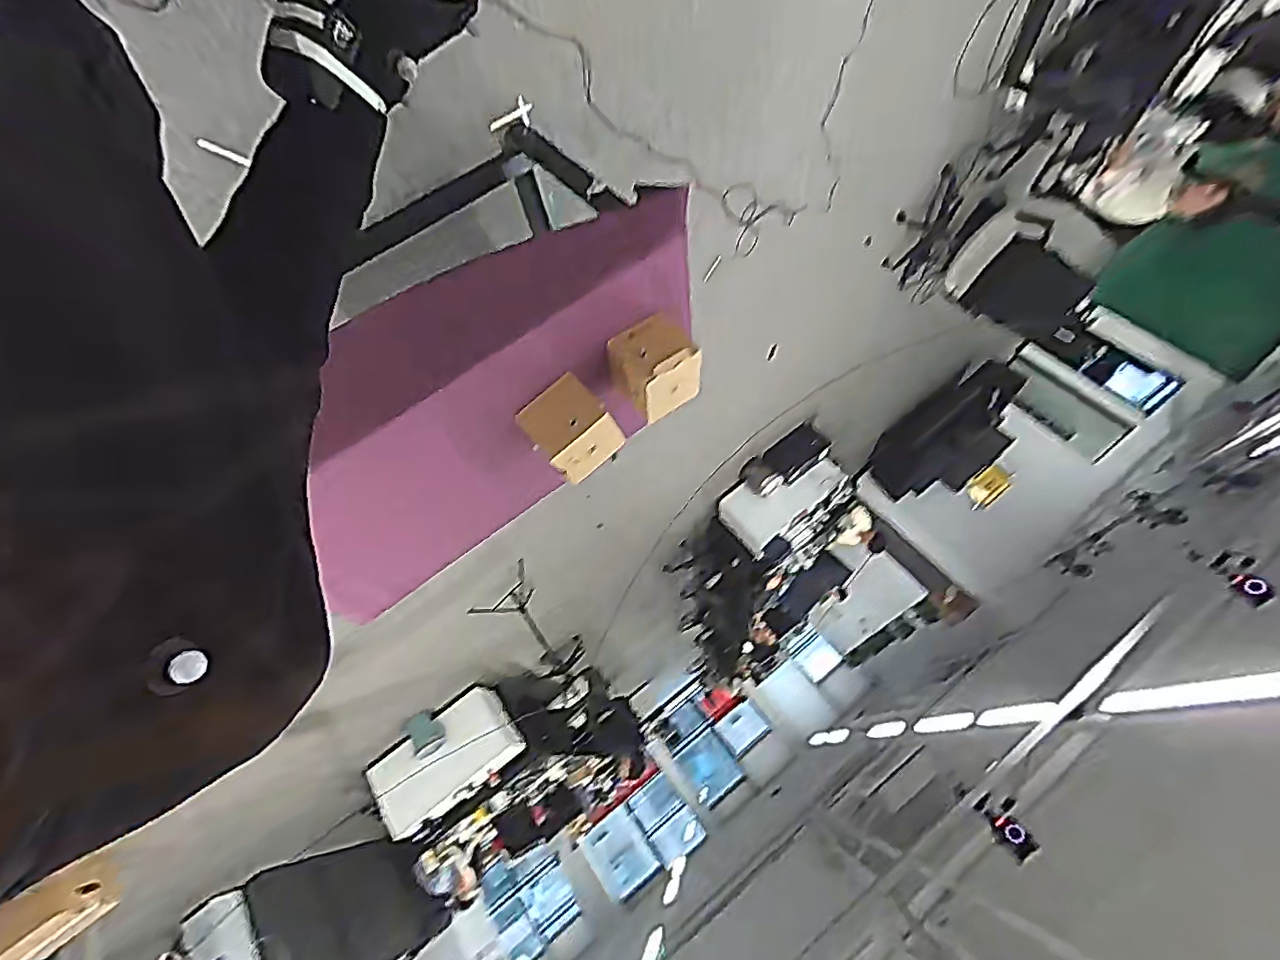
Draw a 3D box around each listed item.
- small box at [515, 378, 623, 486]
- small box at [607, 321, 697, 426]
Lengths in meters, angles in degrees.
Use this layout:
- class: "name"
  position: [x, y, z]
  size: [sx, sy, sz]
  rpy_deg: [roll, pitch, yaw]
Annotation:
- class: "small box"
  position: [-0.175, -0.122, 1.347]
  size: [0.179, 0.176, 0.168]
  rpy_deg: [-40, 154, -3]
- class: "small box"
  position: [0.028, -0.280, 1.385]
  size: [0.168, 0.176, 0.179]
  rpy_deg: [-33, 154, -15]
